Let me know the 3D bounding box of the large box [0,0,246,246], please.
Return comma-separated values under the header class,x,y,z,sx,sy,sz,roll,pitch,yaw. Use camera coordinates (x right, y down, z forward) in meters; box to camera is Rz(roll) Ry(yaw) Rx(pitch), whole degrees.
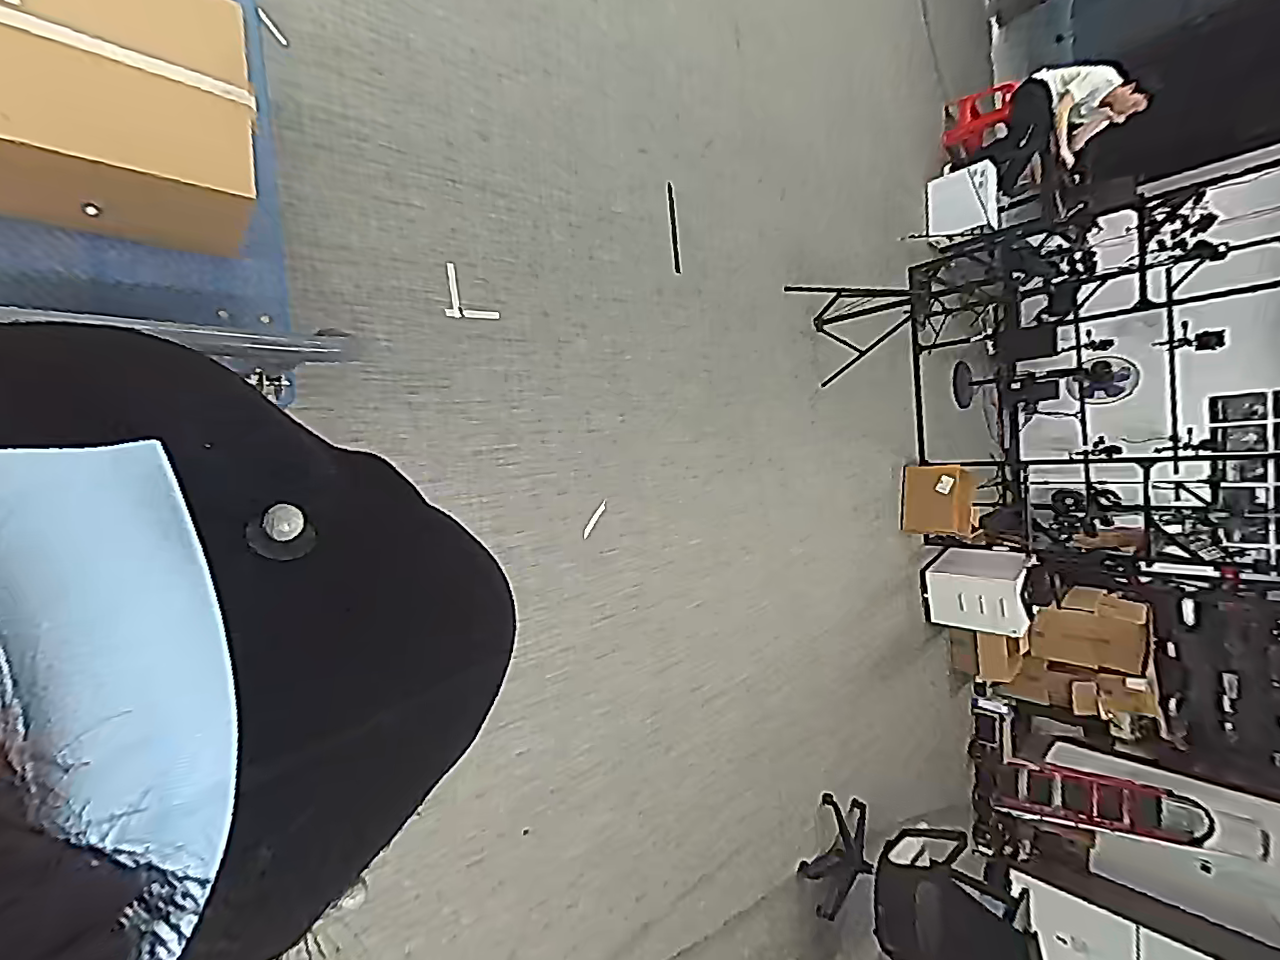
class,x,y,z,sx,sy,sz,roll,pitch,yaw
large box,-0.893,-0.606,0.852,0.408,0.320,0.320,-4,92,-42
